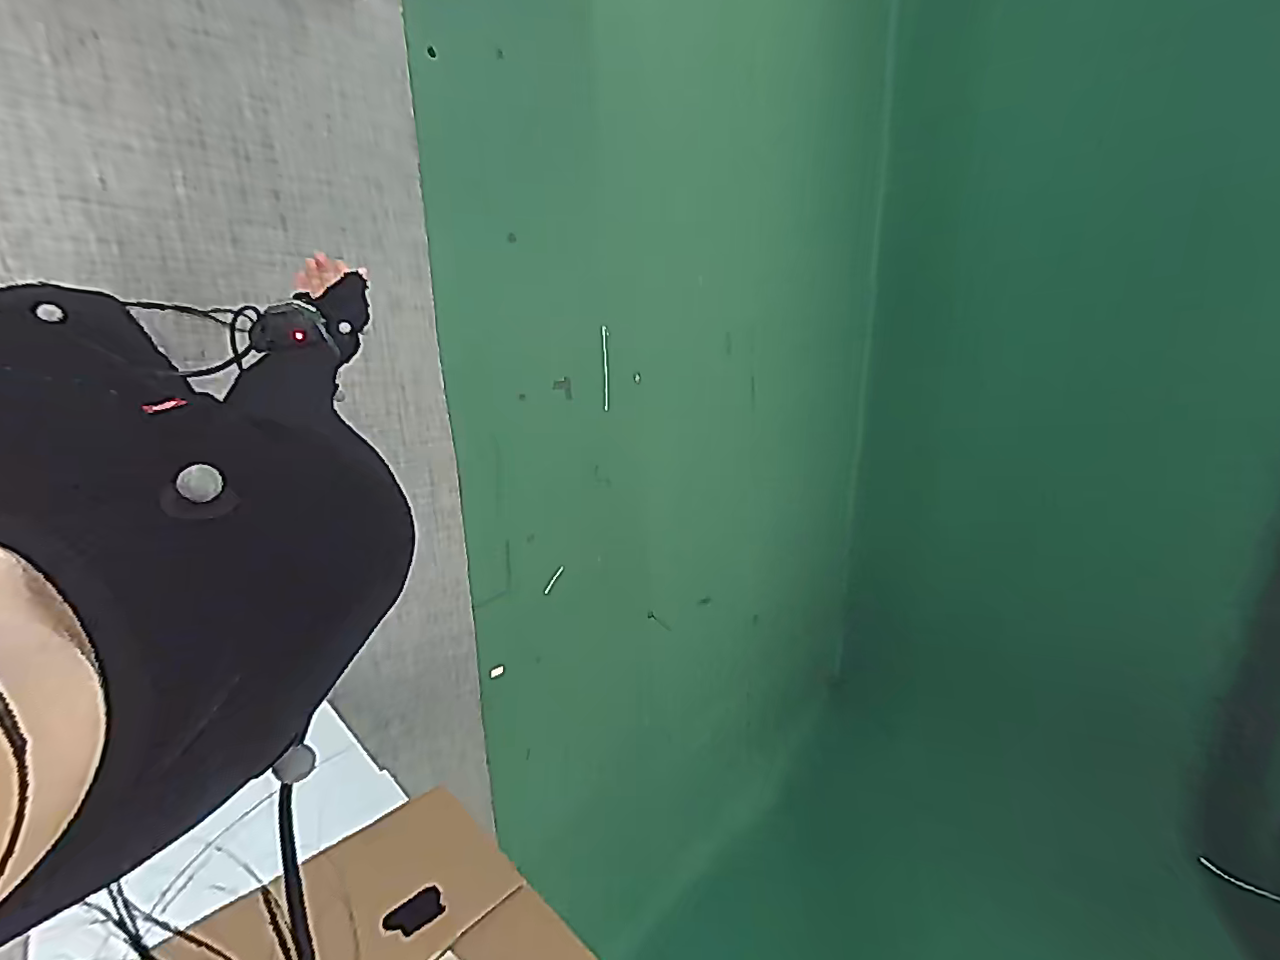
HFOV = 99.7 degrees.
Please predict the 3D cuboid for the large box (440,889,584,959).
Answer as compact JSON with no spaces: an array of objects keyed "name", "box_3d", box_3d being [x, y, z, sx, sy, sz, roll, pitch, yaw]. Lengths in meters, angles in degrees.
[{"name":"large box","box_3d":[-0.187,0.911,0.741,0.320,0.320,0.408,-15,112,-45]}]
